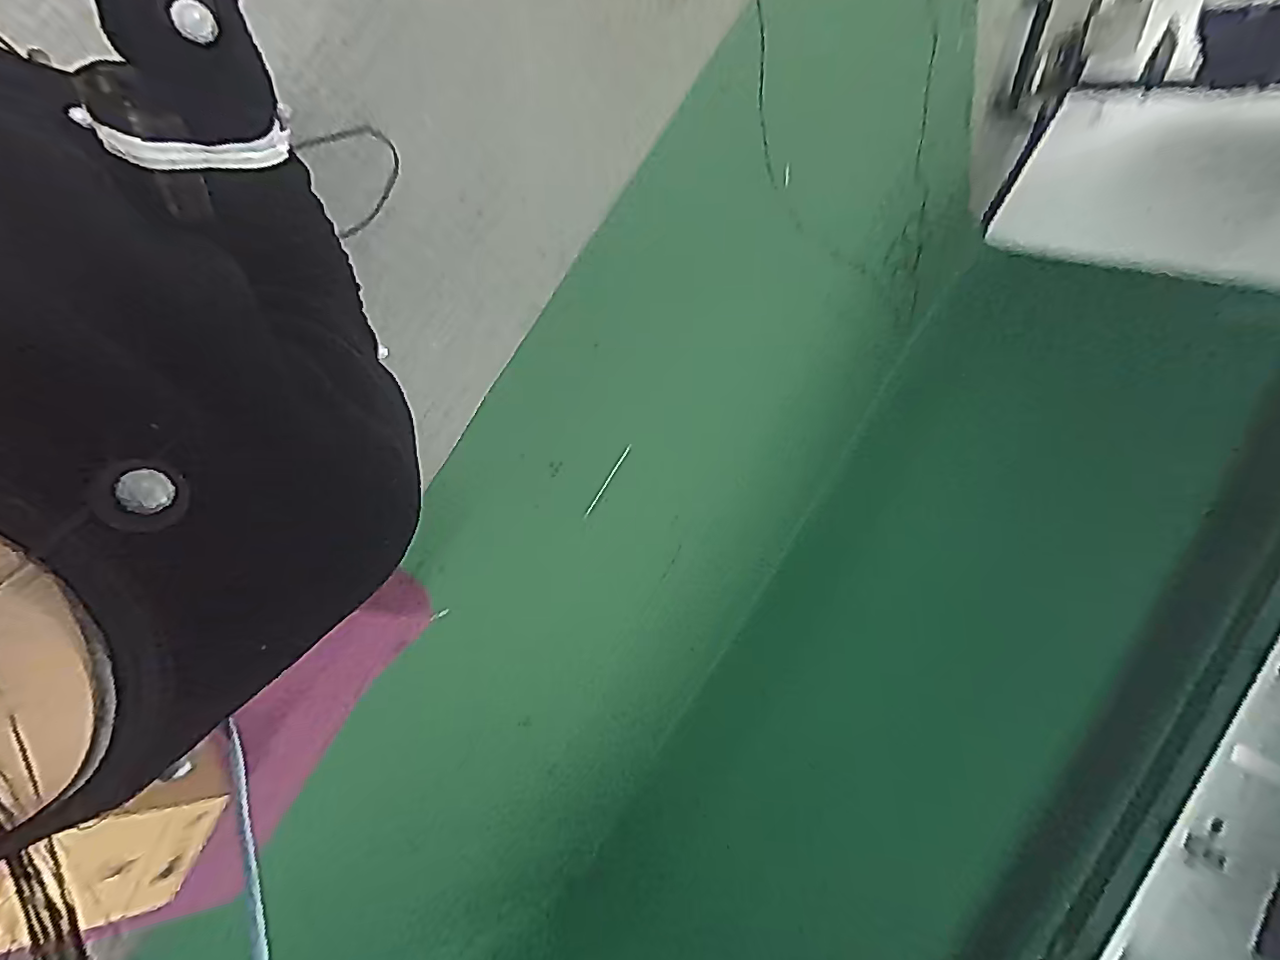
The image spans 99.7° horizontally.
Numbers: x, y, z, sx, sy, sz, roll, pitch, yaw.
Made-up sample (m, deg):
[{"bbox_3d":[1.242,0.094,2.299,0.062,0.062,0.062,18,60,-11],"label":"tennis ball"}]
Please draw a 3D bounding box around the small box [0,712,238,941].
[{"bbox_3d":[-0.679,0.426,0.703,0.179,0.176,0.168,30,91,-53],"label":"small box"}]
